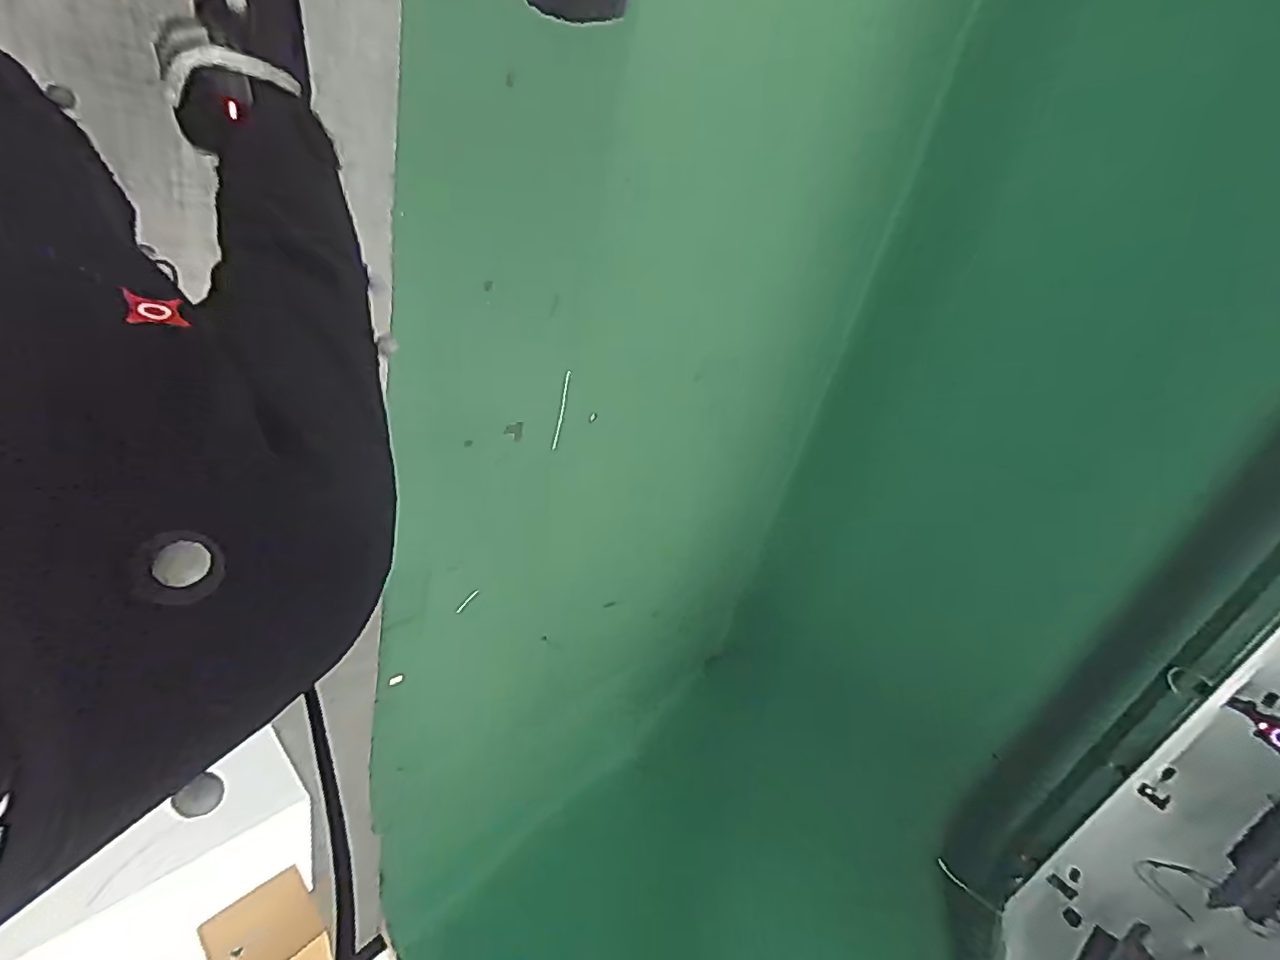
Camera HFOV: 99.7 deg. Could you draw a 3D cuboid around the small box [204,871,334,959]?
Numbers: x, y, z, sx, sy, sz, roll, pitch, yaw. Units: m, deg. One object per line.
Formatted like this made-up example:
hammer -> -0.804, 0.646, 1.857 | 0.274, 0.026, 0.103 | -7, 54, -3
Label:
small box -> -0.746, 0.954, 1.089 | 0.179, 0.176, 0.168 | -21, 133, -45
